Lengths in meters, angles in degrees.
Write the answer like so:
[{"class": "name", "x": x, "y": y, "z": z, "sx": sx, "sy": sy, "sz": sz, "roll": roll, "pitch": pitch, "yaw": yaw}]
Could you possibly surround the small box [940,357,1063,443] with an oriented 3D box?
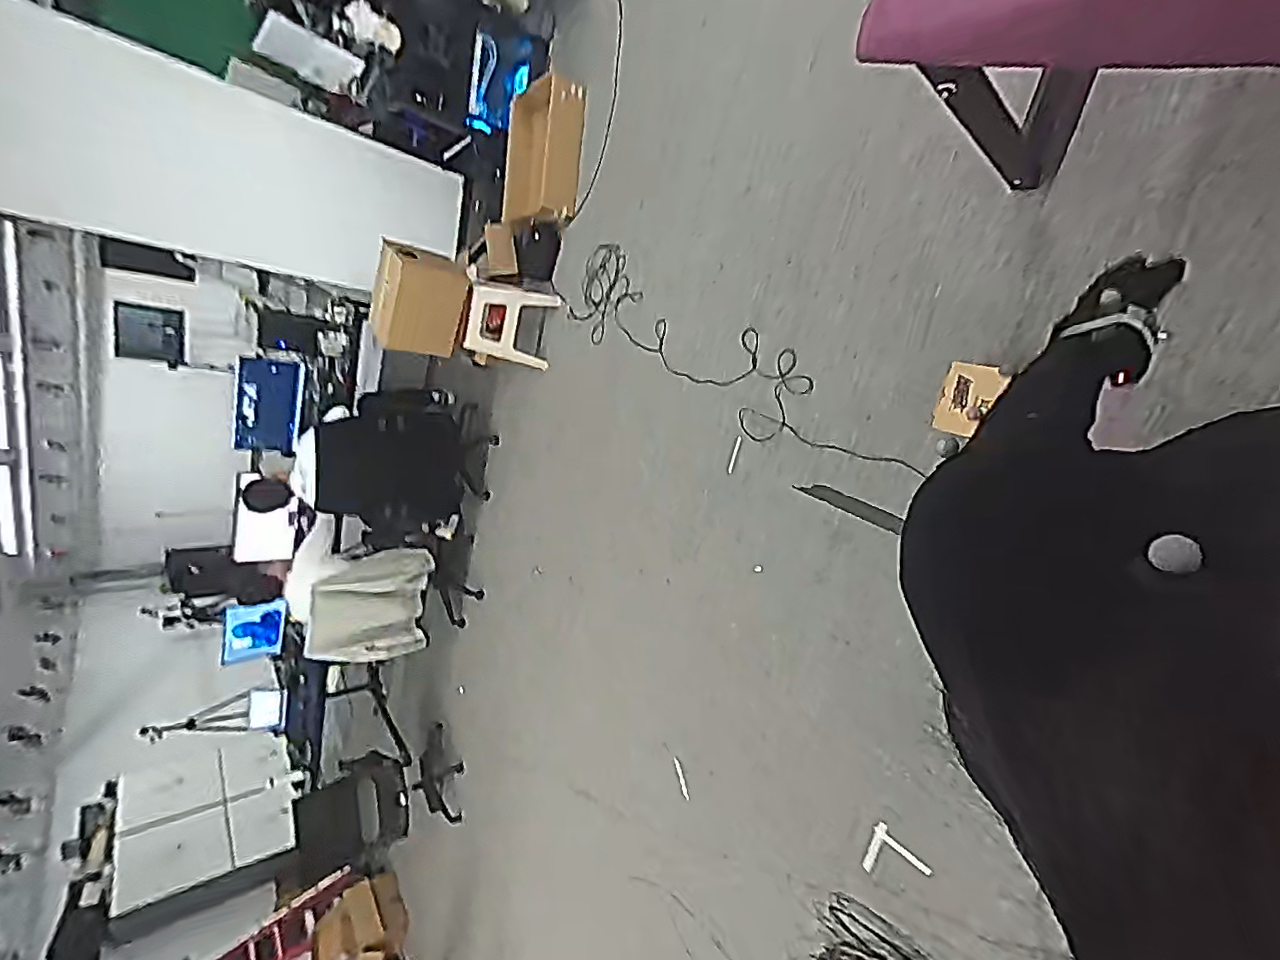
[{"class": "small box", "x": 0.848, "y": -0.184, "z": 1.270, "sx": 0.179, "sy": 0.176, "sz": 0.168, "roll": 25, "pitch": 109, "yaw": 45}]
